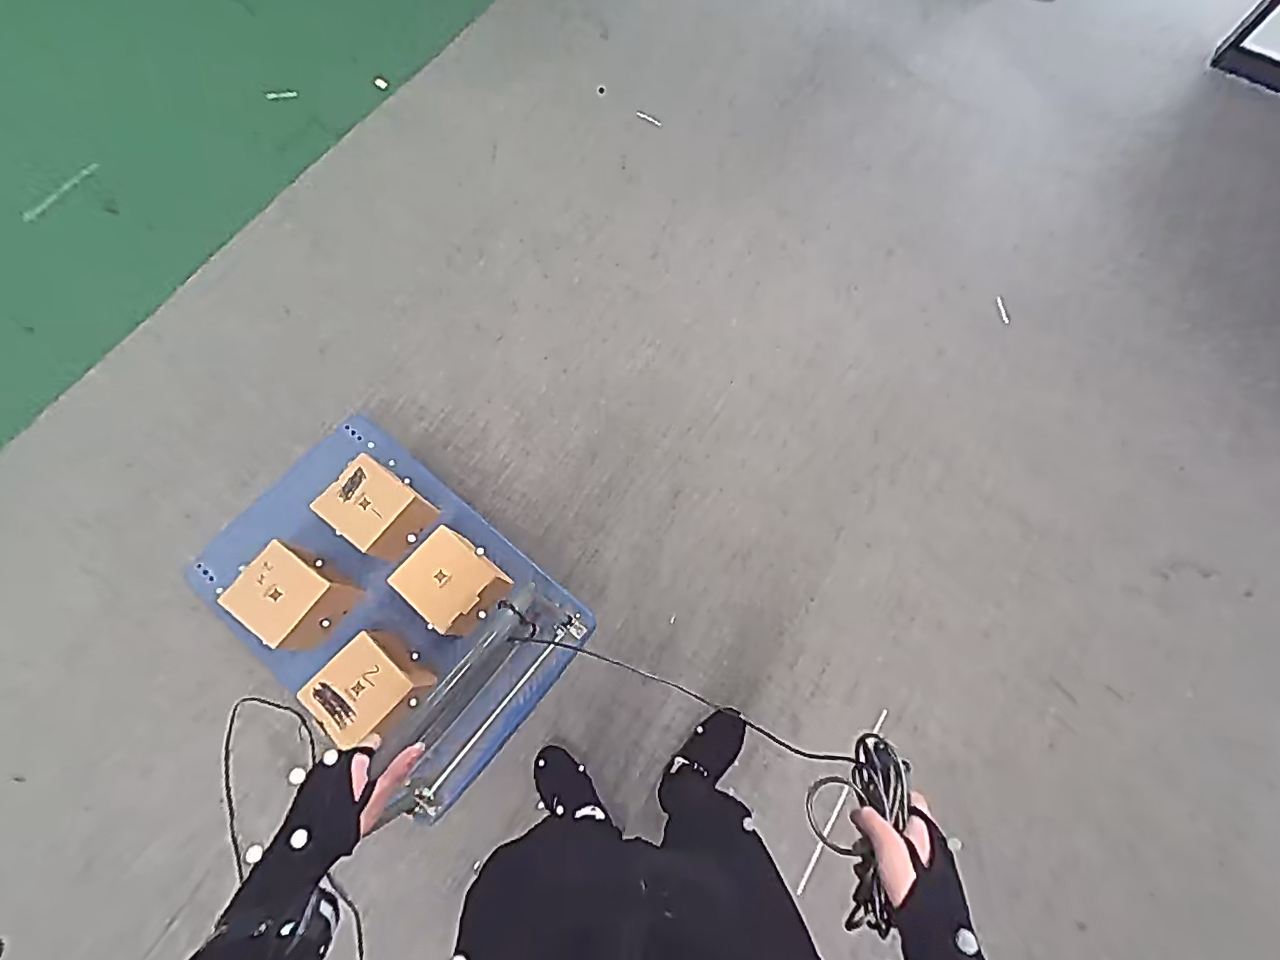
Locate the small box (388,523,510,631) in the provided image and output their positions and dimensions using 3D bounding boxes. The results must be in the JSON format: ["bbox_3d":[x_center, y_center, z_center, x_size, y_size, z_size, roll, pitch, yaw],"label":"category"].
[{"bbox_3d":[-0.425,0.229,1.234,0.179,0.176,0.168,40,77,11],"label":"small box"}]

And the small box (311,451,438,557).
[{"bbox_3d":[-0.619,0.065,1.281,0.179,0.176,0.168,37,77,9],"label":"small box"}]

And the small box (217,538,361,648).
[{"bbox_3d":[-0.777,0.258,1.221,0.179,0.176,0.168,35,75,10],"label":"small box"}]
